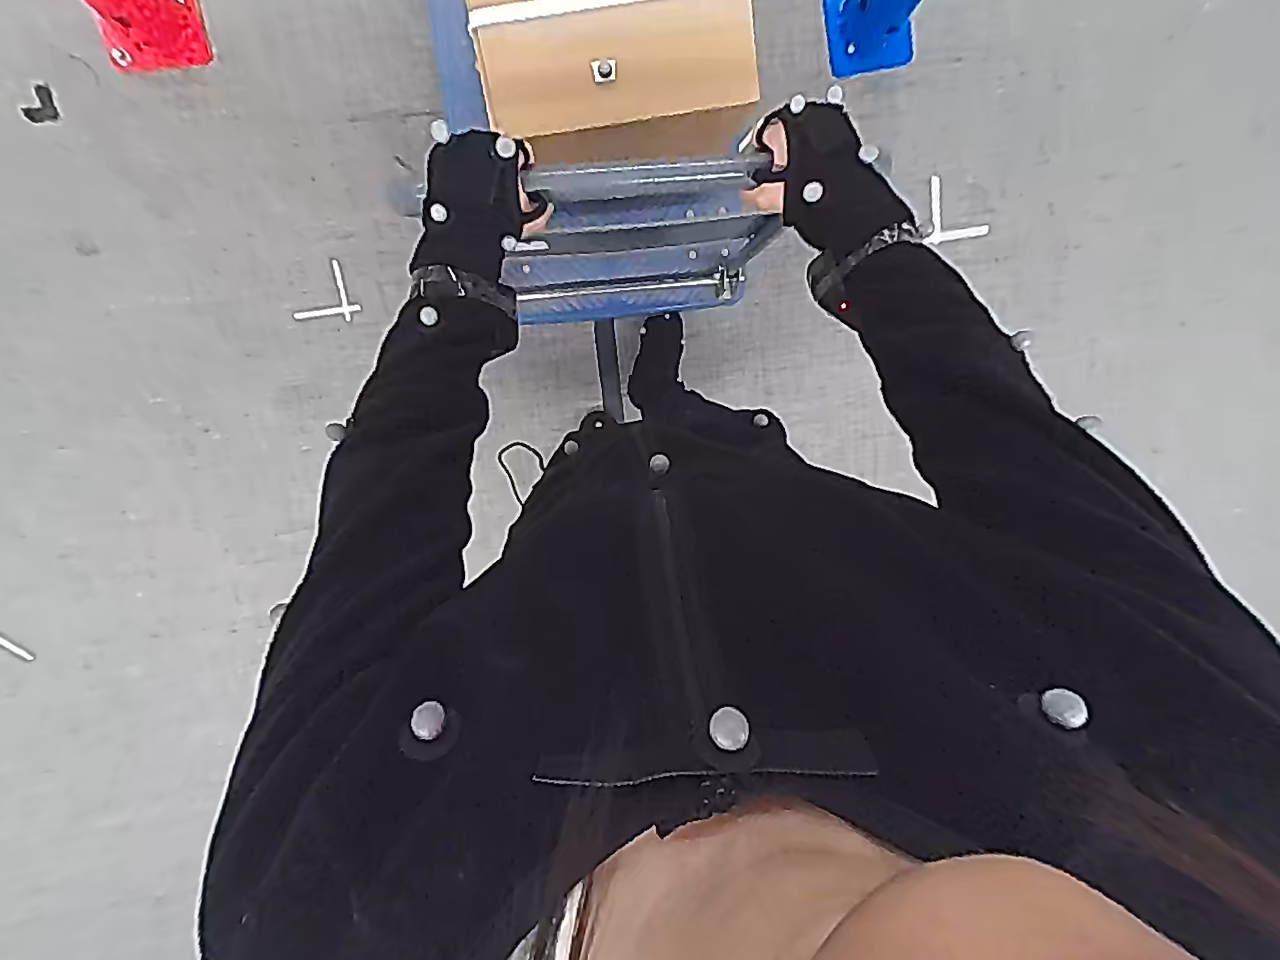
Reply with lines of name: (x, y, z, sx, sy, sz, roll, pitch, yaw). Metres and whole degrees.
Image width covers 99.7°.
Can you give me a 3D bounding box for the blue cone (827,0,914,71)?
blue cone: (0.545, -1.020, 1.083, 0.193, 0.380, 0.192, -12, 103, -3)
